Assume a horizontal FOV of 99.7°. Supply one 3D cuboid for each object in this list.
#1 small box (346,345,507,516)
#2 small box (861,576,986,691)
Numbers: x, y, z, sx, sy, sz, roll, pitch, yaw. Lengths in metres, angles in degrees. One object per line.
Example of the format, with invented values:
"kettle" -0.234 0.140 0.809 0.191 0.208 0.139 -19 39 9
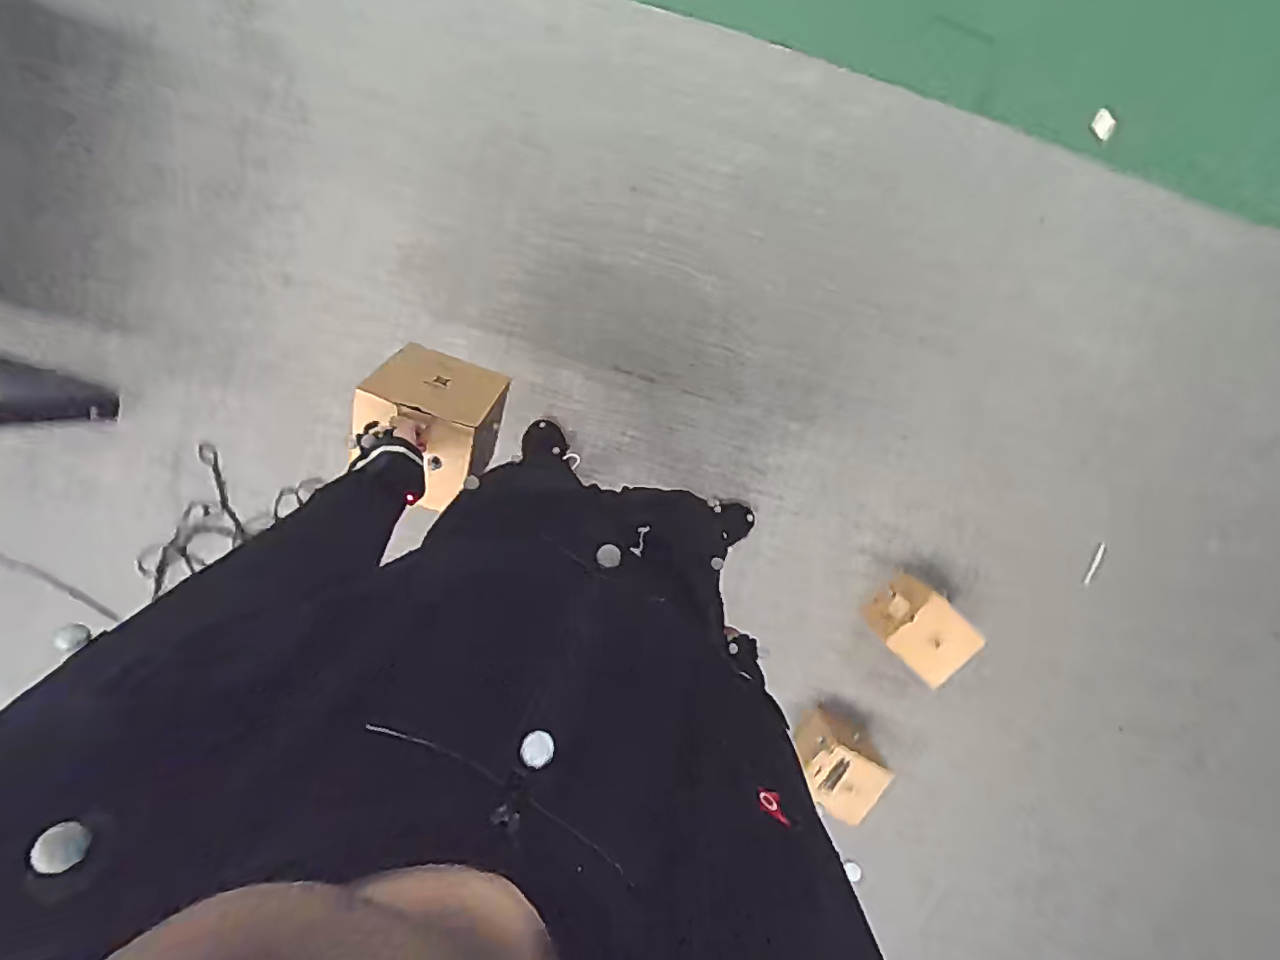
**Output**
"small box" -0.318 -0.073 0.818 0.168 0.179 0.176 18 125 -6
"small box" 0.681 0.365 1.318 0.179 0.176 0.168 43 98 -6
